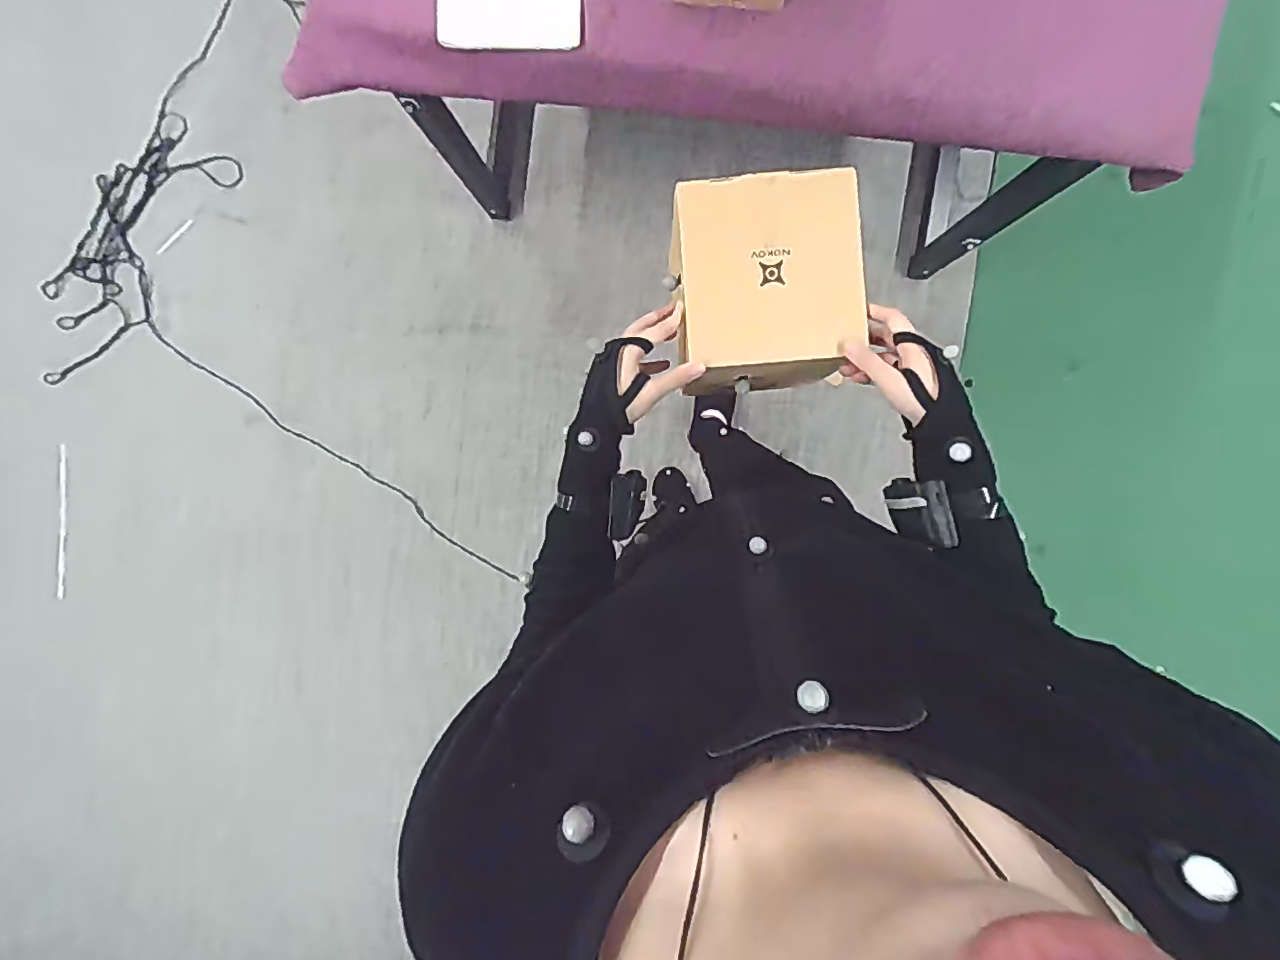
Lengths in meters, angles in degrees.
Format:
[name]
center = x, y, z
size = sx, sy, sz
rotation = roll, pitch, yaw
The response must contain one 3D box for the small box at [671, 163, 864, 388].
[small box]
center = 0.121, -0.197, 0.573
size = 0.168, 0.176, 0.179
rotation = -4, 88, 1
